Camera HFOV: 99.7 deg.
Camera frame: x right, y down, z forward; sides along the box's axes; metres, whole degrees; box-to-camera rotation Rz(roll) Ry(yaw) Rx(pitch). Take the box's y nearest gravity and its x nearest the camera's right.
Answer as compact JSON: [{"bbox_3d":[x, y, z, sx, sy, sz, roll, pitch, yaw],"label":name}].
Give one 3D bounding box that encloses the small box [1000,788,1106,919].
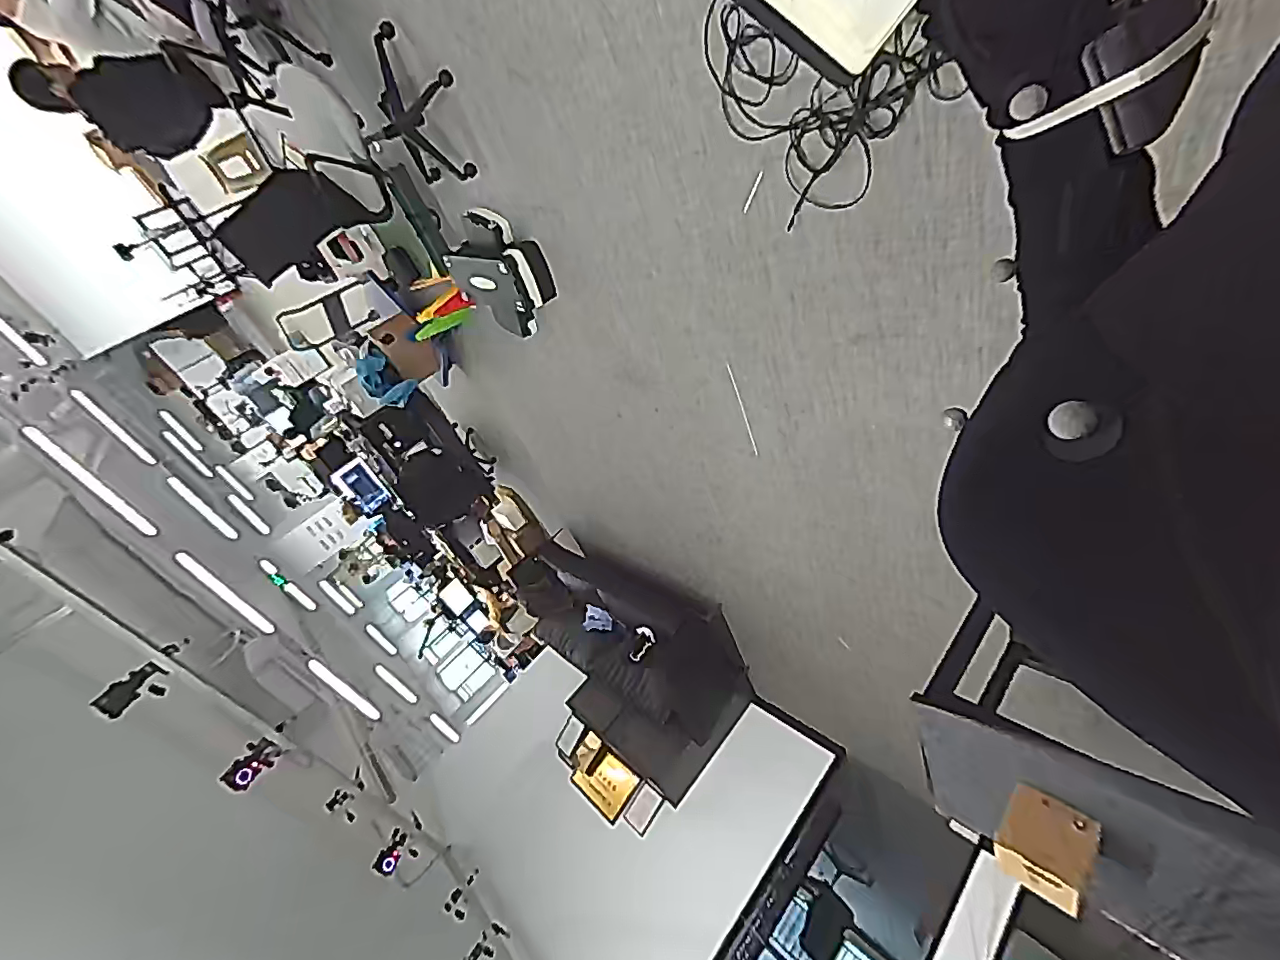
[{"bbox_3d":[0.984,0.881,1.290,0.168,0.176,0.179,16,142,48],"label":"small box"}]
